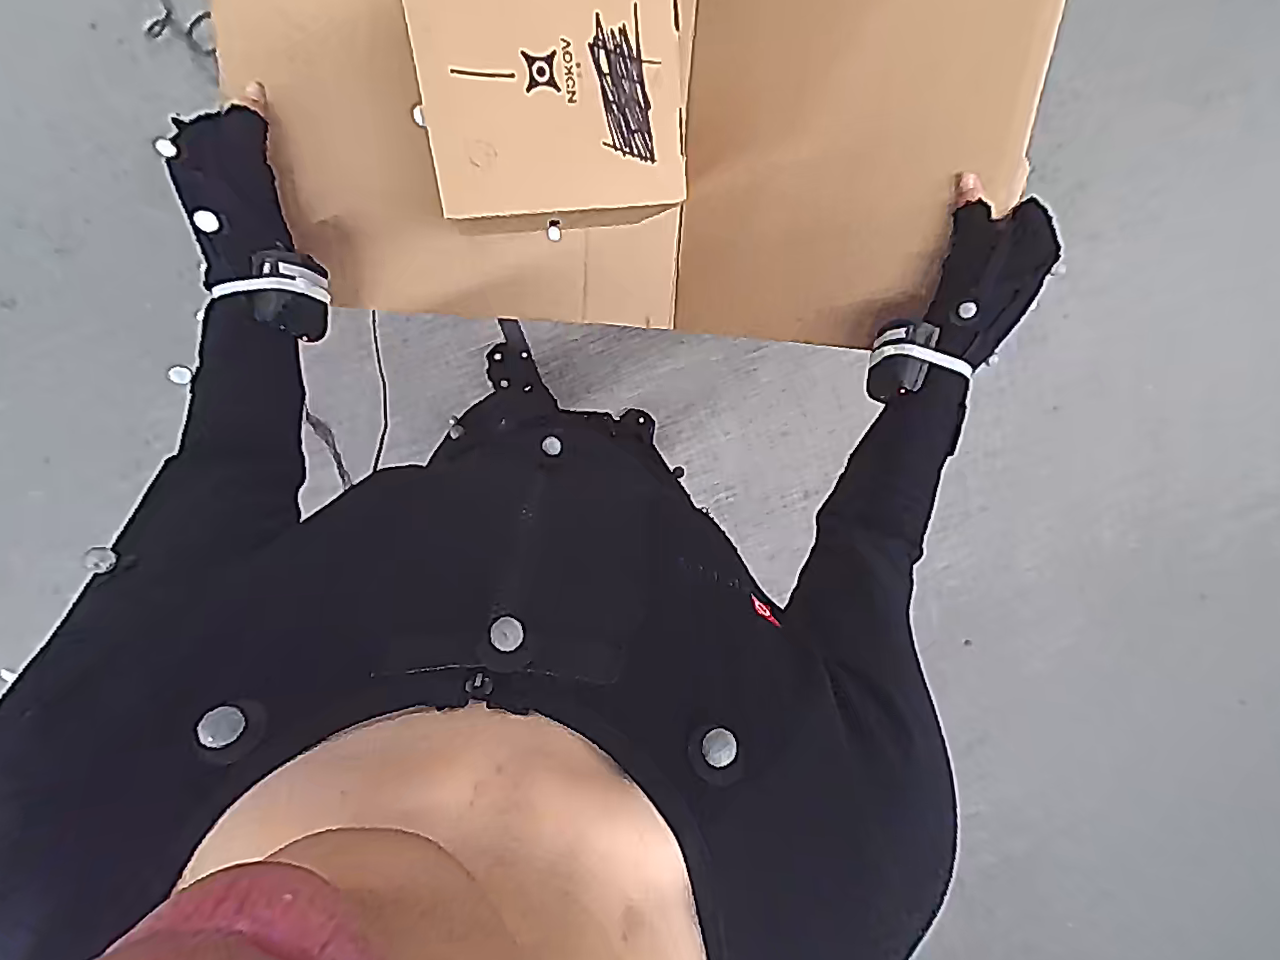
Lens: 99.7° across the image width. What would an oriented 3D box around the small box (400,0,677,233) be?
[{"bbox_3d":[-0.080,-0.301,0.439,0.179,0.176,0.168,-10,112,-9],"label":"small box"}]
